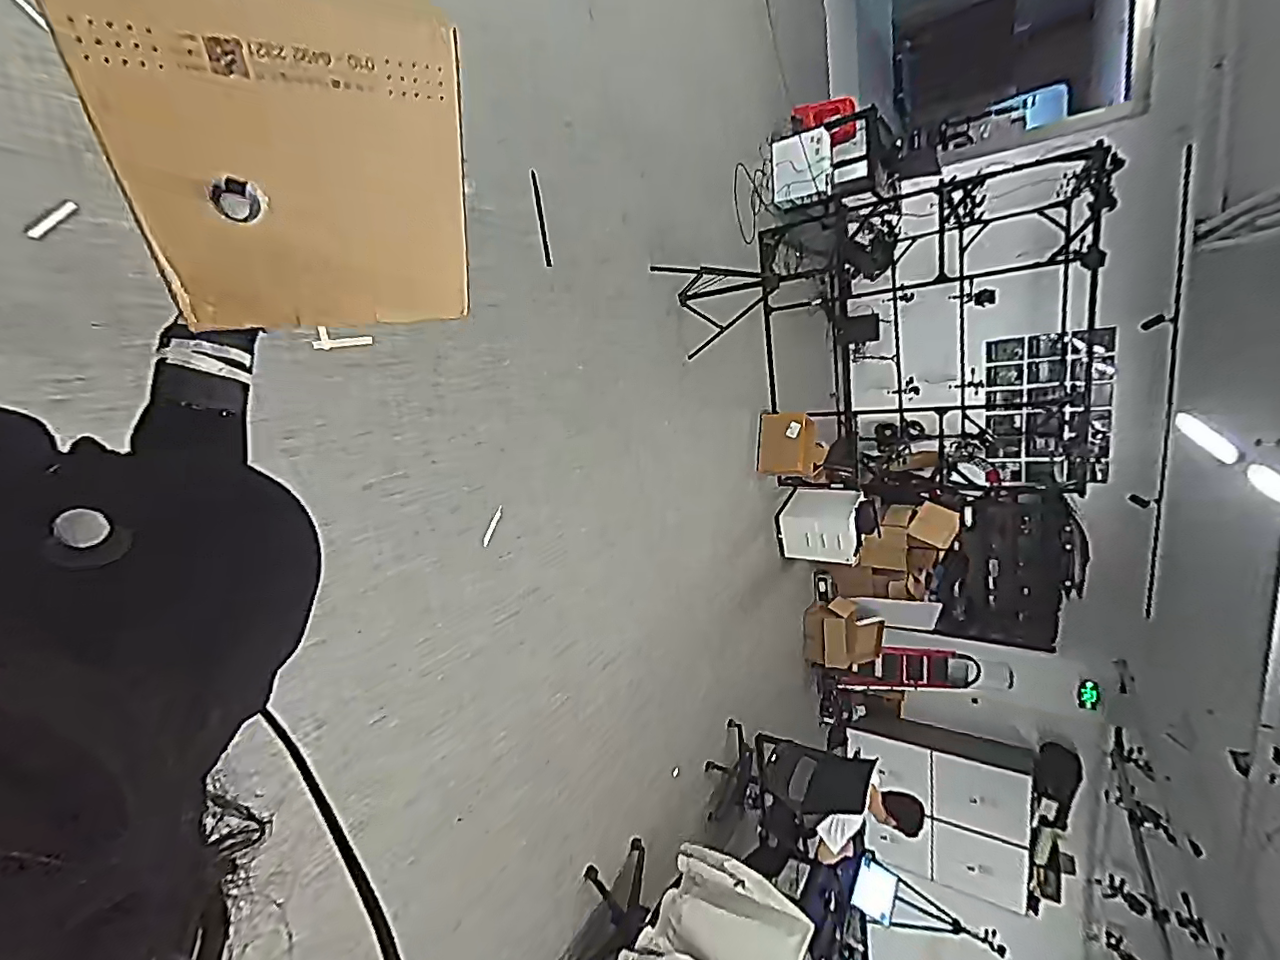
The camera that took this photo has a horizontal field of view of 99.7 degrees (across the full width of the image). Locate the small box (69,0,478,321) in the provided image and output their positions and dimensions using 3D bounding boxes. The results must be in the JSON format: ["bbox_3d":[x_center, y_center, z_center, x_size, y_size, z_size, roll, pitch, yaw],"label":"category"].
[{"bbox_3d":[-0.205,-0.221,0.339,0.168,0.179,0.176,-9,139,-25],"label":"small box"}]
